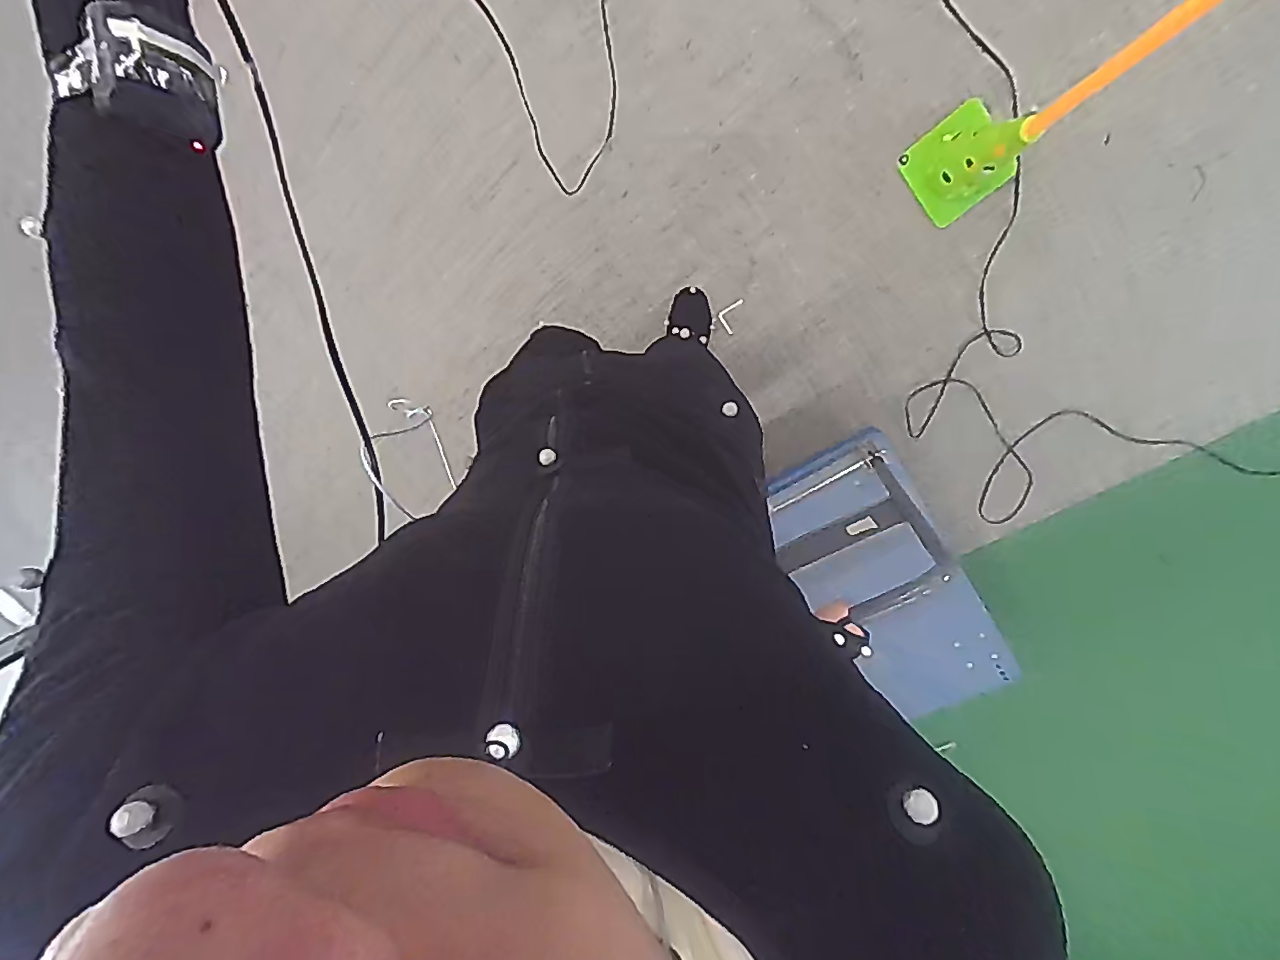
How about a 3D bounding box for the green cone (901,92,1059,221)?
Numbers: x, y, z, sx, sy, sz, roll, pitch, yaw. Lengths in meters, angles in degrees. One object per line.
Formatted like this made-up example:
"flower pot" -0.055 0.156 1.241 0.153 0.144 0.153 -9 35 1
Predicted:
"green cone" 0.707 -0.671 1.076 0.202 0.368 0.200 -37 102 20
